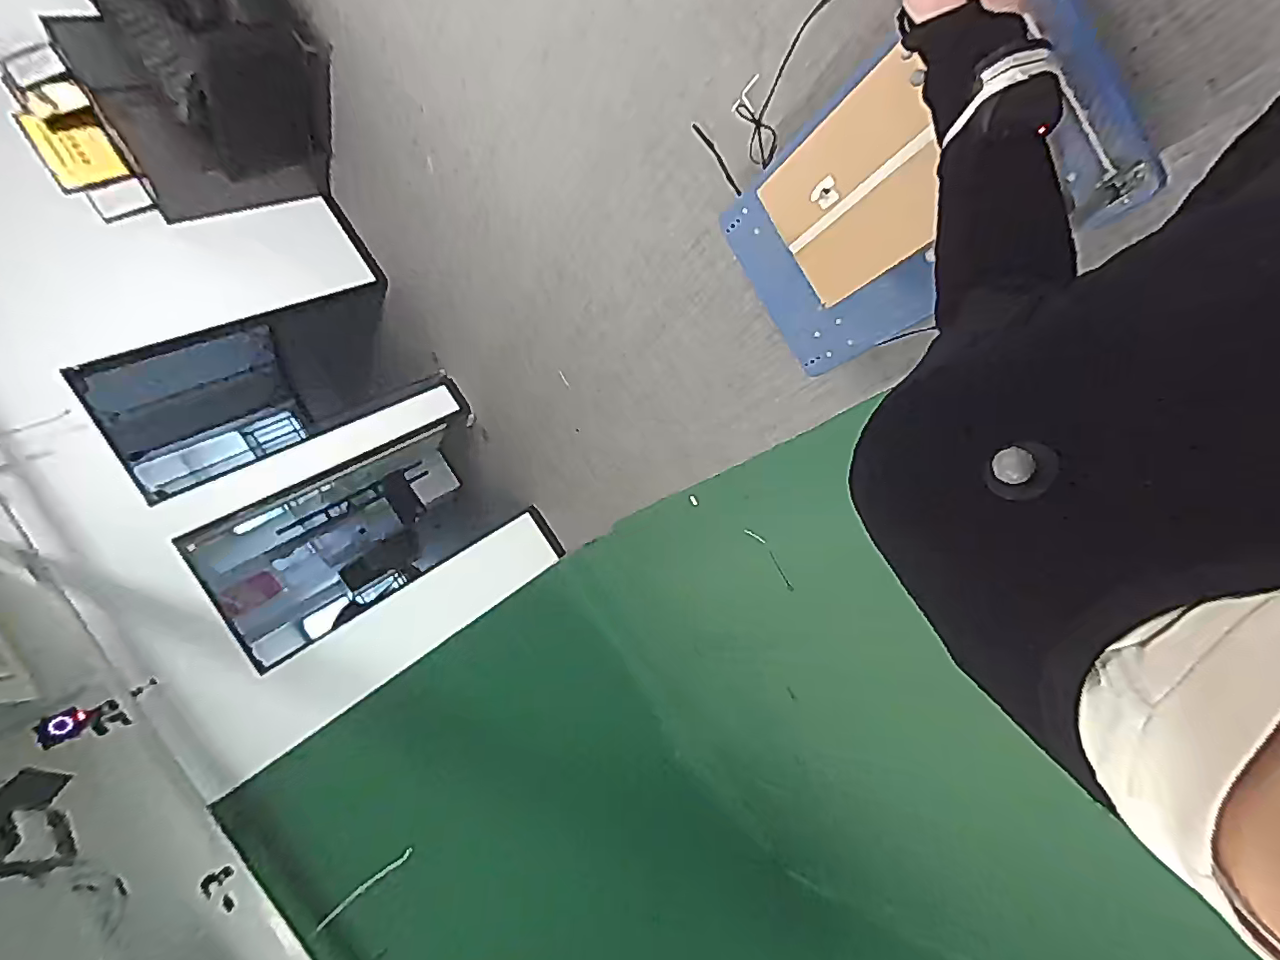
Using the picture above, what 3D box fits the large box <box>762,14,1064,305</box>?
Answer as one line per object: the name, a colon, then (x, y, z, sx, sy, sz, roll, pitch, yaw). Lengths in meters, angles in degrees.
large box: (0.548, -0.644, 1.125, 0.320, 0.320, 0.408, 58, 148, -3)
